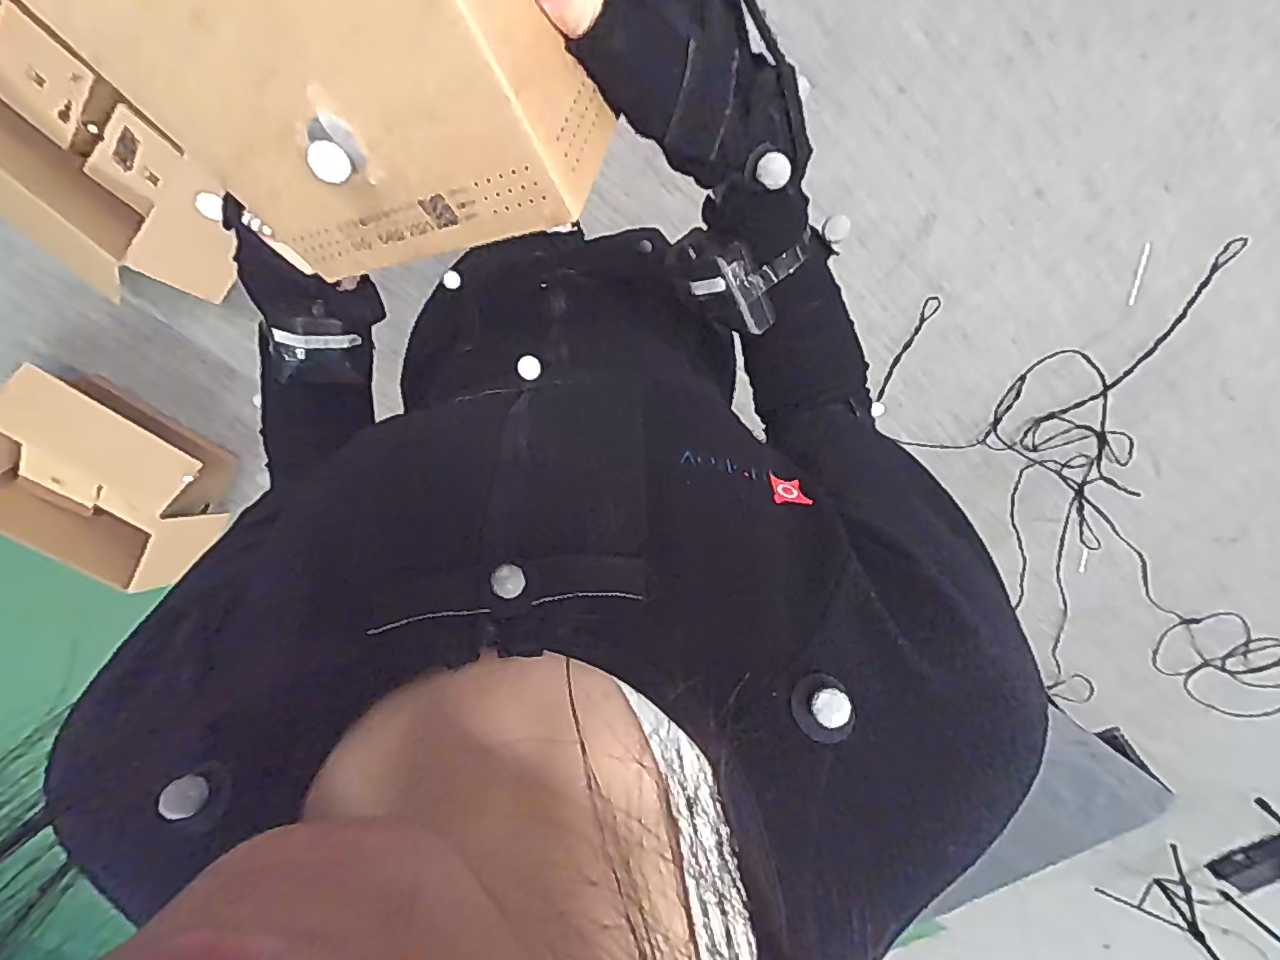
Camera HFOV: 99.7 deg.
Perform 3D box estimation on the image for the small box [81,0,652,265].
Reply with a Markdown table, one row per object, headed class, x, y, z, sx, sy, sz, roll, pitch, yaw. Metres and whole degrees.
| class | x | y | z | sx | sy | sz | roll | pitch | yaw |
| --- | --- | --- | --- | --- | --- | --- | --- | --- | --- |
| small box | -0.107 | -0.225 | 0.230 | 0.168 | 0.179 | 0.176 | 0 | 152 | 26 |
